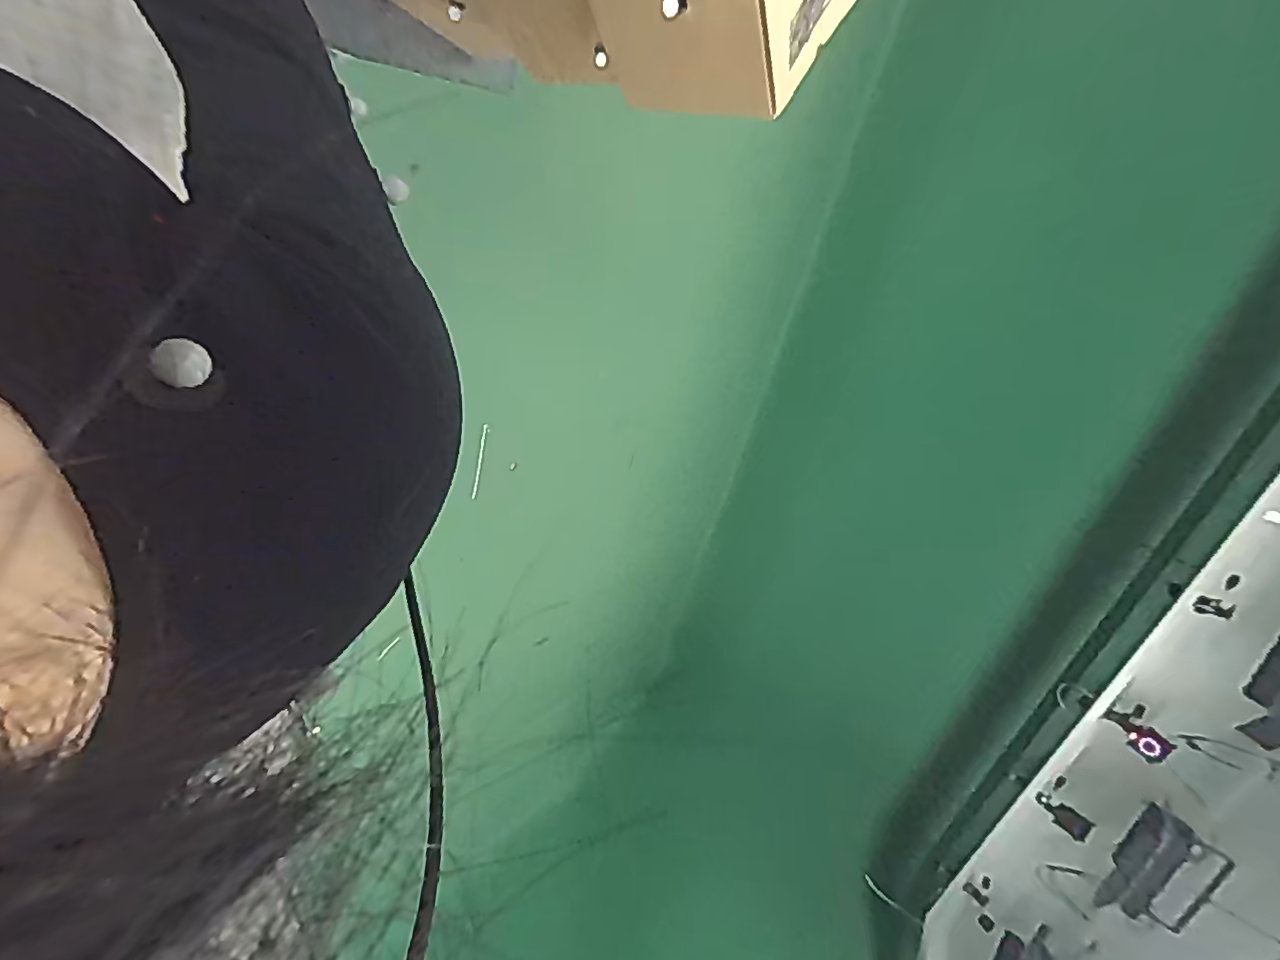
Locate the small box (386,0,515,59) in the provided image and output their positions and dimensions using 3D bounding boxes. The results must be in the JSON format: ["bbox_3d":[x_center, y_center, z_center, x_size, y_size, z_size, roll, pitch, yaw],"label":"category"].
[{"bbox_3d":[-0.181,-0.596,0.595,0.179,0.176,0.168,-8,119,-55],"label":"small box"}]
